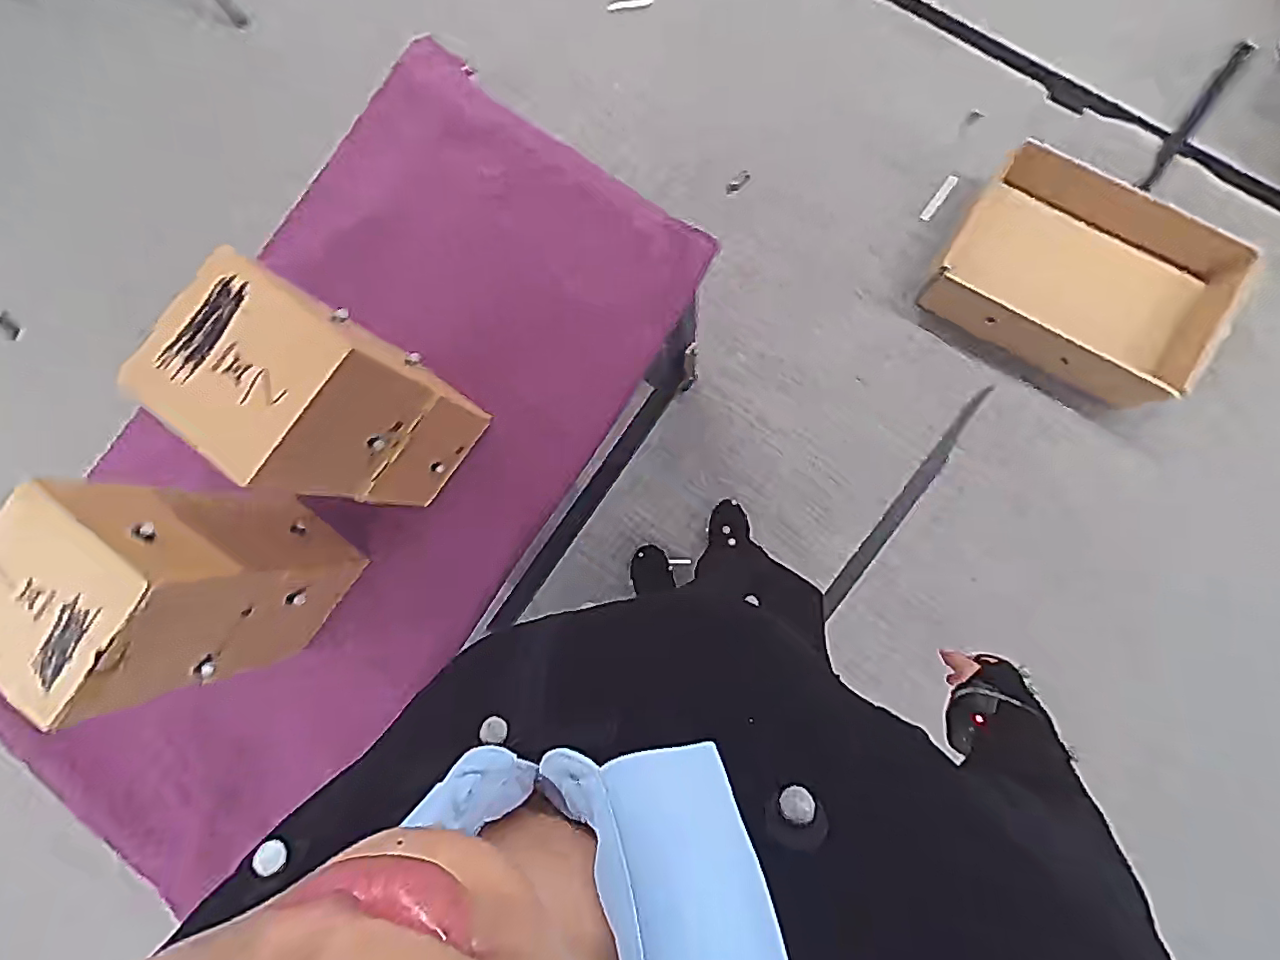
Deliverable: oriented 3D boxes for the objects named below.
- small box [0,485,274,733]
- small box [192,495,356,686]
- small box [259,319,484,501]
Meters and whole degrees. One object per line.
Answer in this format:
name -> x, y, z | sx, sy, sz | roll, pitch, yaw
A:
small box -> -0.549, 0.121, 0.577 | 0.179, 0.176, 0.168 | 35, 89, 7
small box -> -0.529, 0.139, 0.739 | 0.168, 0.176, 0.179 | 36, 89, 7
small box -> -0.352, -0.081, 0.742 | 0.179, 0.176, 0.168 | 36, 89, 7
